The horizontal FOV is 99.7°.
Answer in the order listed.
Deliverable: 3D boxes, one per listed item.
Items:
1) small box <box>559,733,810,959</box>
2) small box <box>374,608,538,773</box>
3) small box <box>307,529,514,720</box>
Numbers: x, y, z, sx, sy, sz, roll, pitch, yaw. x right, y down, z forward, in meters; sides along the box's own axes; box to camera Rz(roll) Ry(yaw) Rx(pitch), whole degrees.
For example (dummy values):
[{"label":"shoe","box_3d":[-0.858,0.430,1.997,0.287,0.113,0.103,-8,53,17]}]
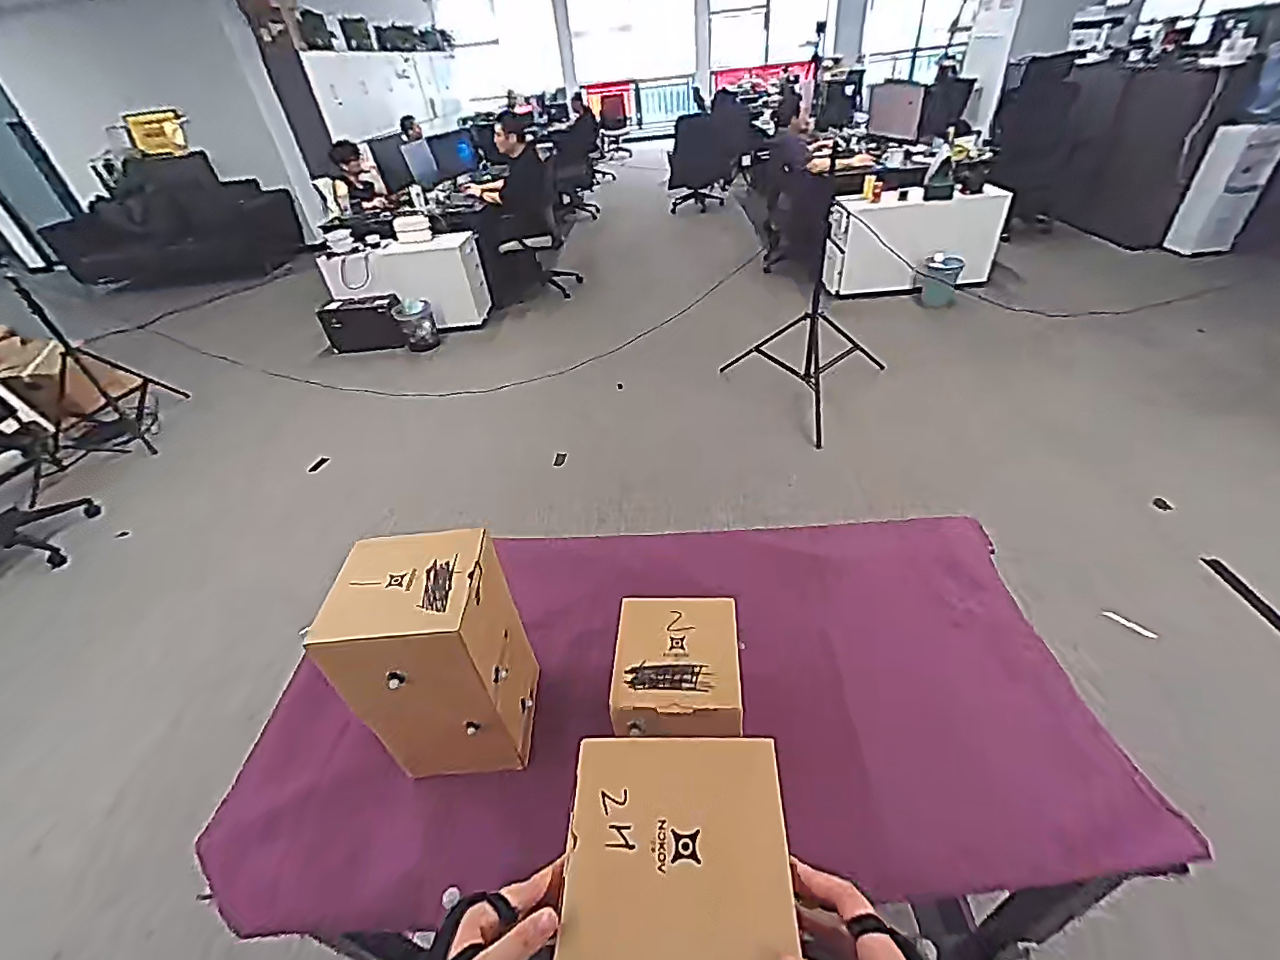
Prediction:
[{"label":"small box","box_3d":[0.041,0.343,0.480,0.179,0.176,0.168,-3,41,7]},{"label":"small box","box_3d":[-0.260,0.313,0.800,0.179,0.176,0.168,-4,38,1]},{"label":"small box","box_3d":[-0.272,0.185,0.695,0.179,0.176,0.168,-6,37,1]}]
